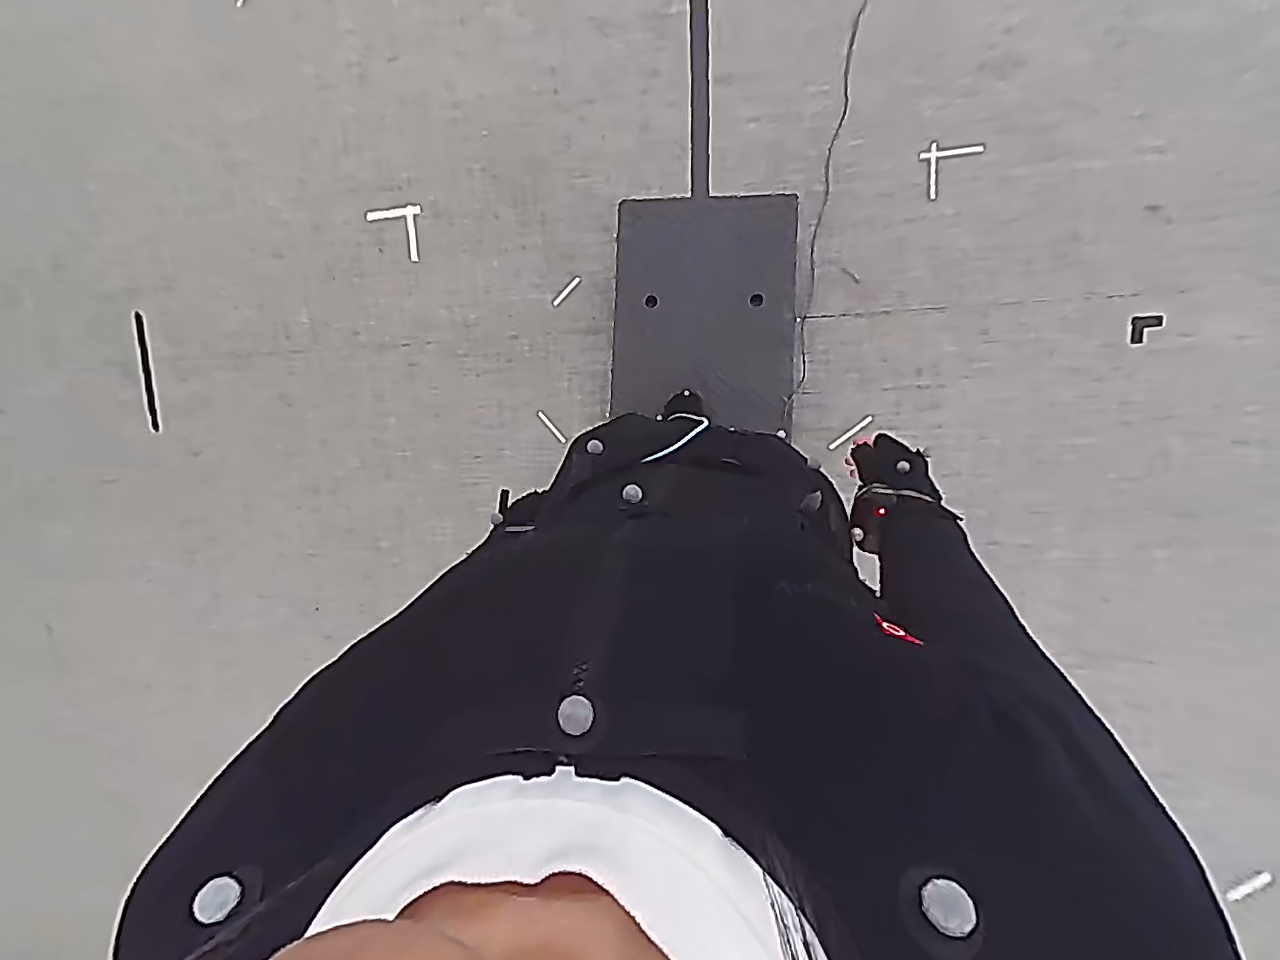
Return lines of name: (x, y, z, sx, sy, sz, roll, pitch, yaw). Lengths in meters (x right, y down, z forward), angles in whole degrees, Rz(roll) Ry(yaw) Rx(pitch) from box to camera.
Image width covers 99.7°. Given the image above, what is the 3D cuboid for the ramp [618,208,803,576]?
ramp: (0.186, -0.248, 1.473, 0.509, 0.206, 0.991, -1, 95, 10)
